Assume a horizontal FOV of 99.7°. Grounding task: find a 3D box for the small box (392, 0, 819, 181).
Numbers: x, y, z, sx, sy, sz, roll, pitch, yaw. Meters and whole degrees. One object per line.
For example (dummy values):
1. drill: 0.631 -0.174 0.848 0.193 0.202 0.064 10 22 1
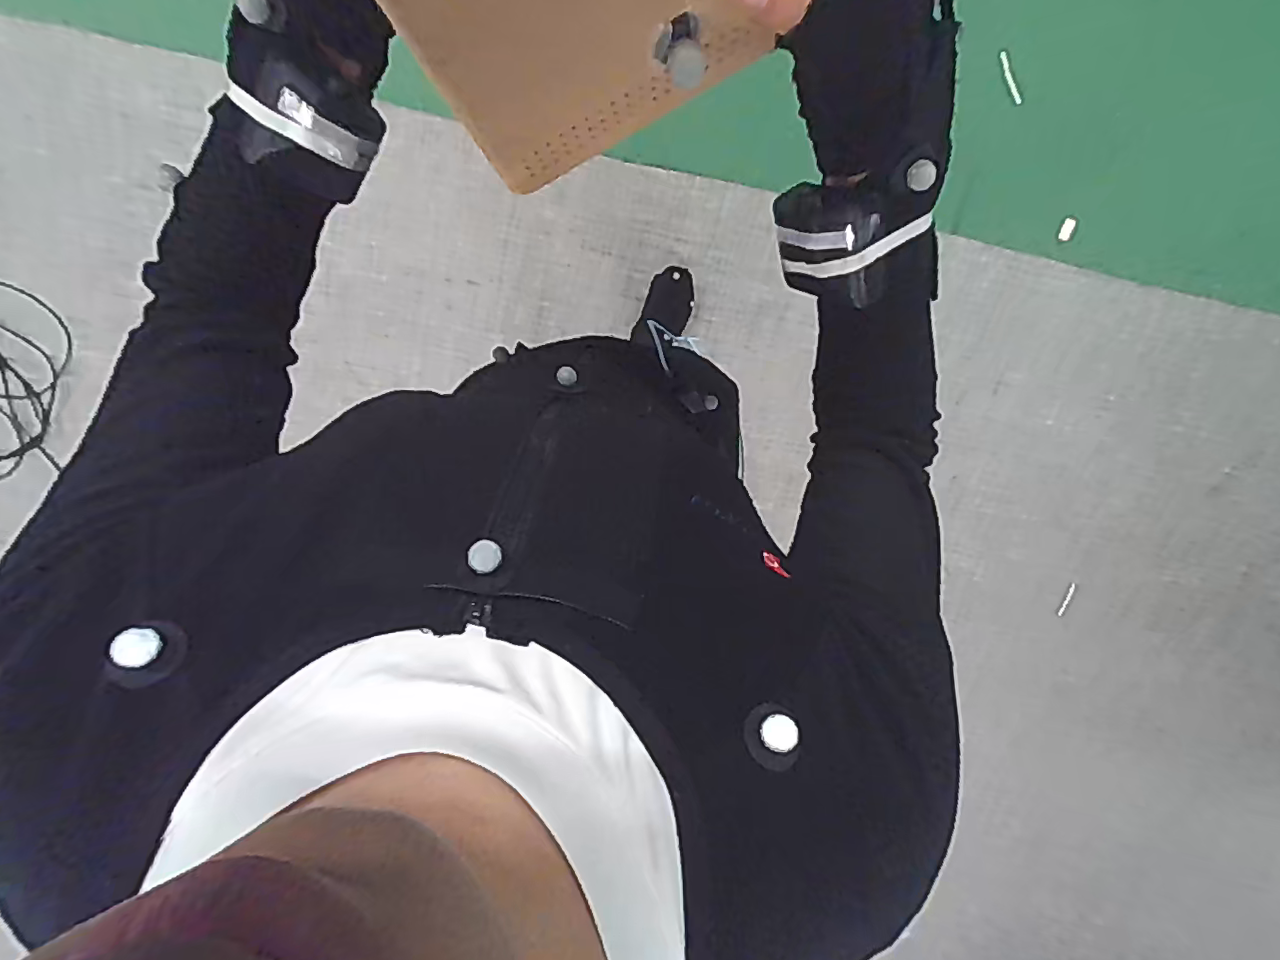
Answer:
1. small box: -0.024 -0.241 0.166 0.179 0.176 0.168 -27 90 5
